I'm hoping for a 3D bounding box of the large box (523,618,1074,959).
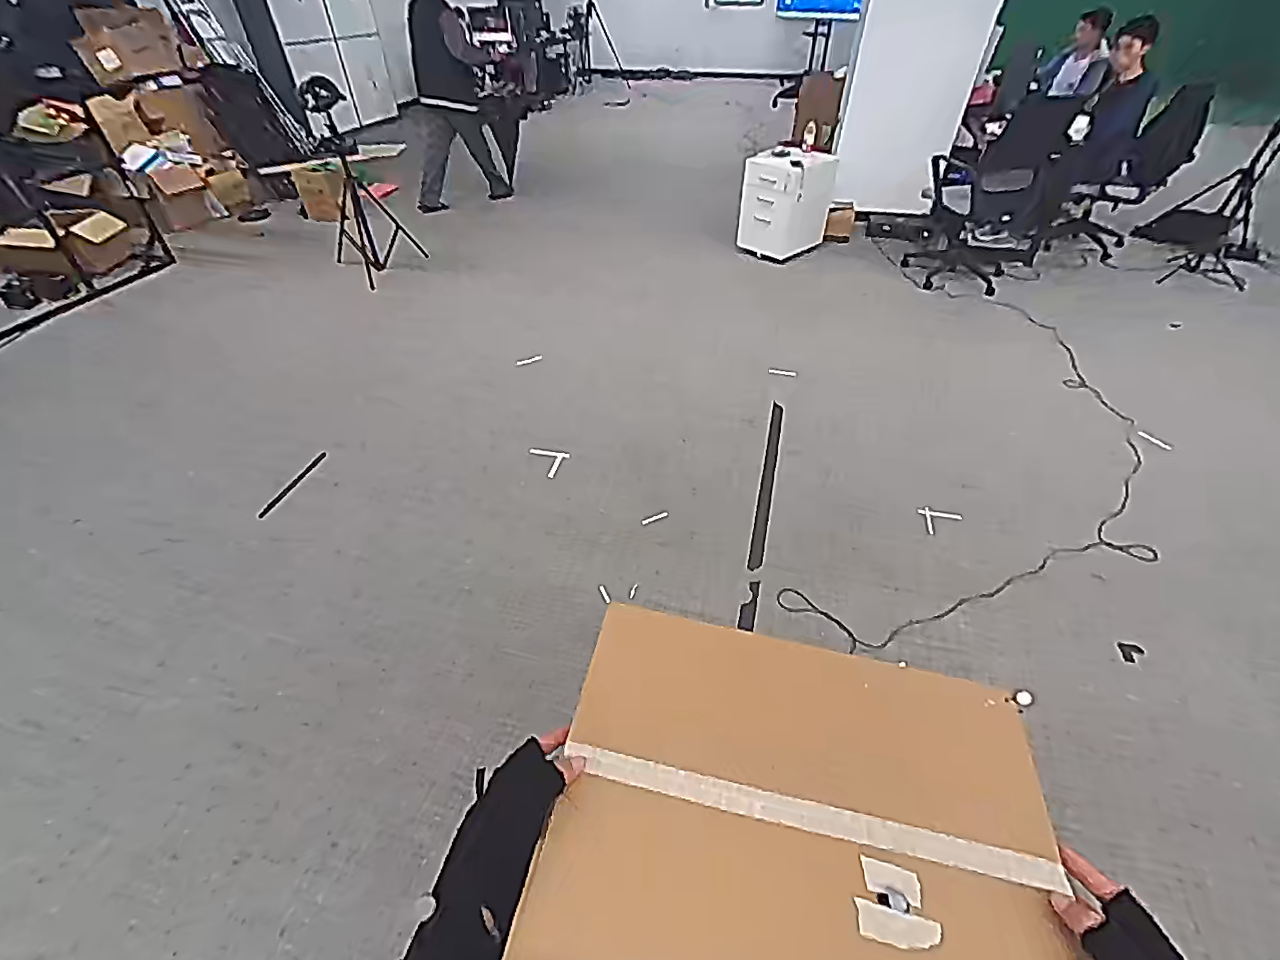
[{"bbox_3d":[0.125,0.389,0.557,0.408,0.320,0.320,11,46,6],"label":"large box"}]
